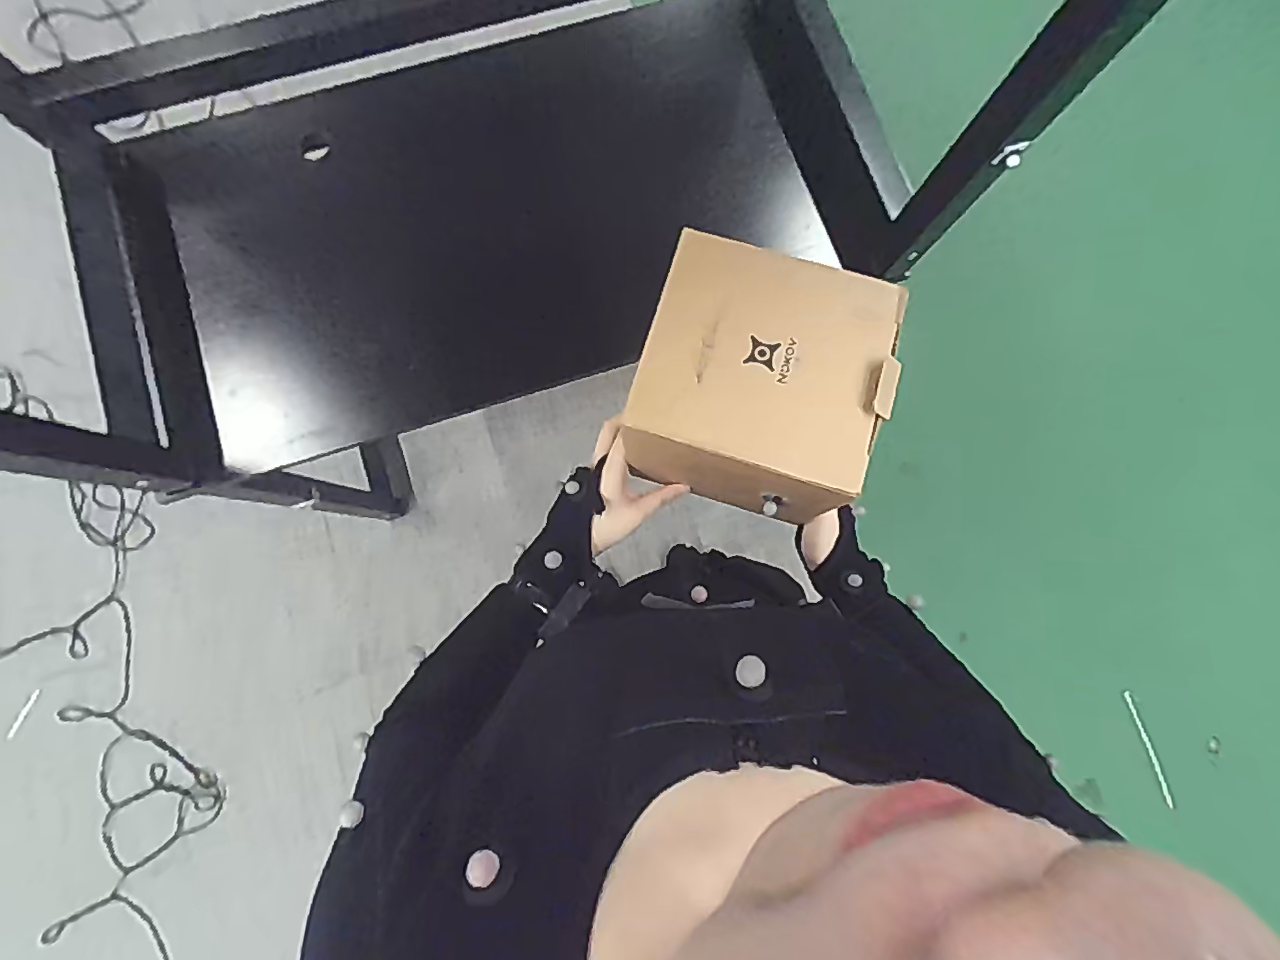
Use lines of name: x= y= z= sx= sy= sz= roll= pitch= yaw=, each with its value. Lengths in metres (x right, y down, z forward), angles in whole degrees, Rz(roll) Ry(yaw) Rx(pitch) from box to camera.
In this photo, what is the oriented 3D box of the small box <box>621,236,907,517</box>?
small box: x=0.095 y=-0.073 z=0.473 sx=0.179 sy=0.176 sz=0.168 roll=17 pitch=79 yaw=6
